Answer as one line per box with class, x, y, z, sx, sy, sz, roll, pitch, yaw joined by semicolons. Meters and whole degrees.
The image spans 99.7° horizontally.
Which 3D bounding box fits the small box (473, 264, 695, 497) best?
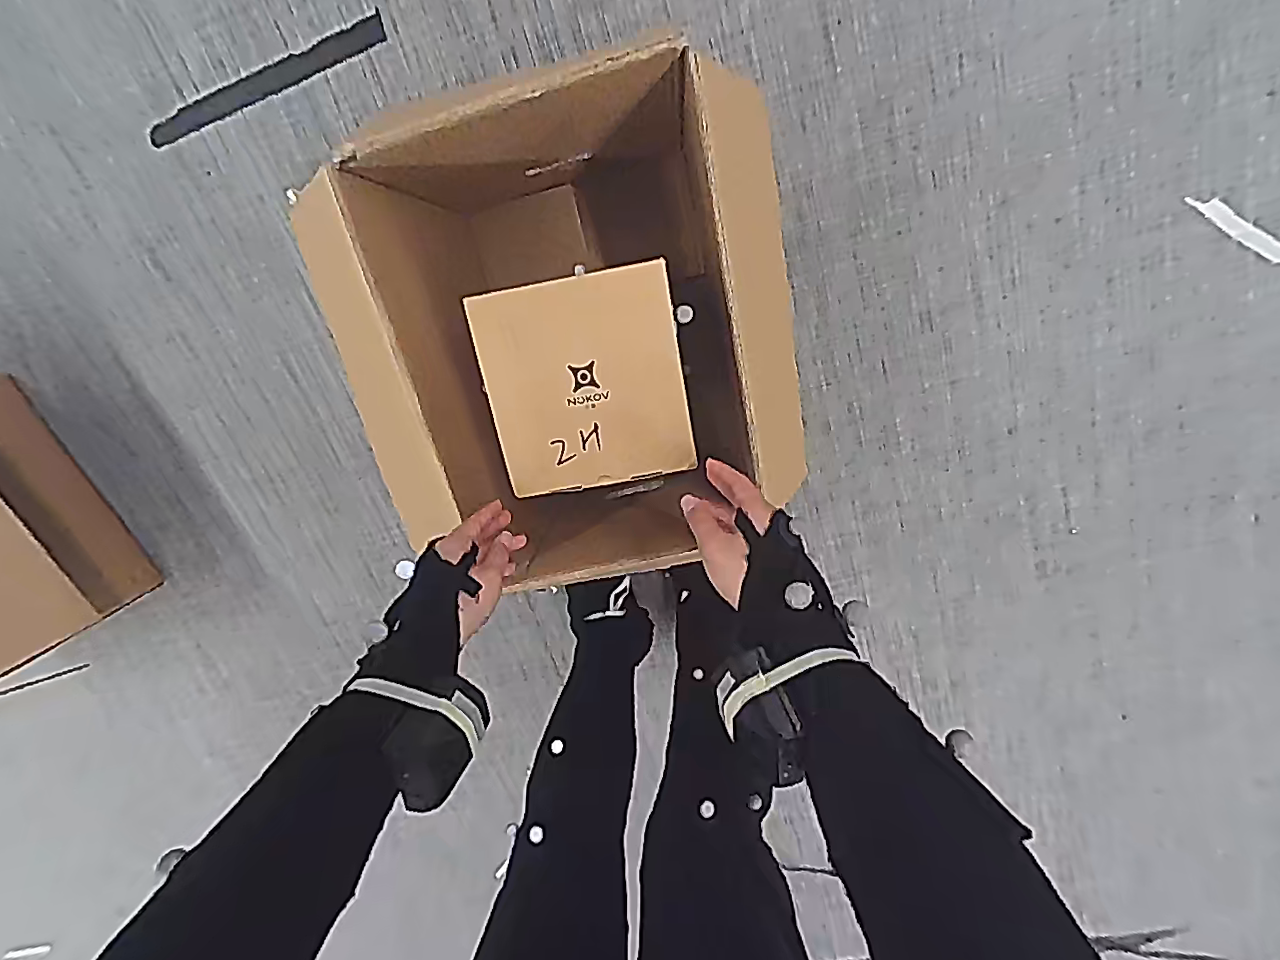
small box;-0.044;-0.101;0.537;0.168;0.176;0.179;-10;107;4
